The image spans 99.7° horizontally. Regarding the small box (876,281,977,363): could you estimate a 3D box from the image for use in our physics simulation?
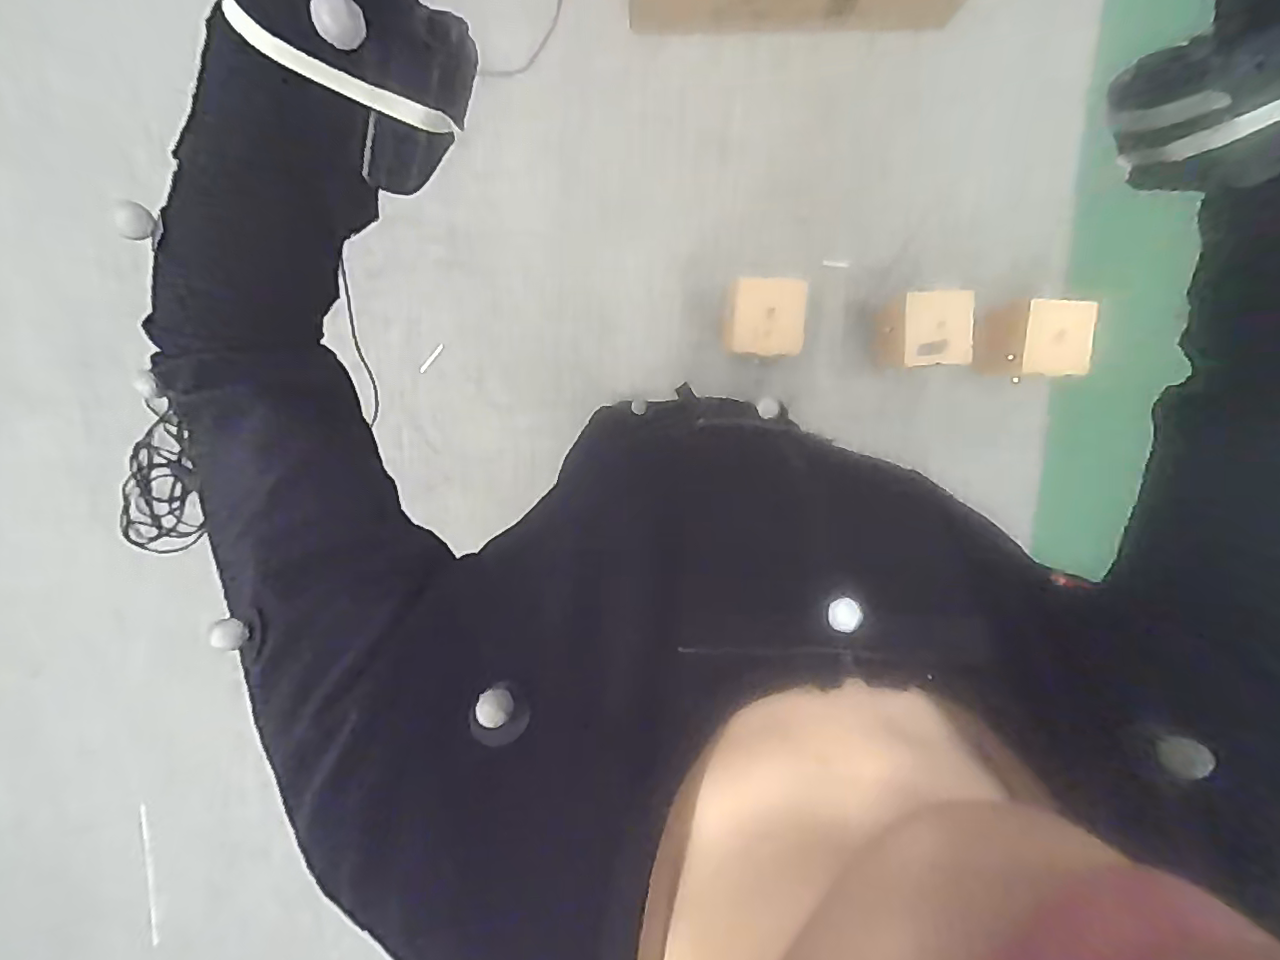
[{"bbox_3d":[0.707,-0.386,1.349,0.168,0.176,0.179,-2,96,-1],"label":"small box"}]

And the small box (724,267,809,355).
[{"bbox_3d":[0.305,-0.411,1.339,0.168,0.176,0.179,4,98,0],"label":"small box"}]

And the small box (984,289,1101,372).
[{"bbox_3d":[0.999,-0.369,1.356,0.168,0.176,0.179,2,97,0],"label":"small box"}]
